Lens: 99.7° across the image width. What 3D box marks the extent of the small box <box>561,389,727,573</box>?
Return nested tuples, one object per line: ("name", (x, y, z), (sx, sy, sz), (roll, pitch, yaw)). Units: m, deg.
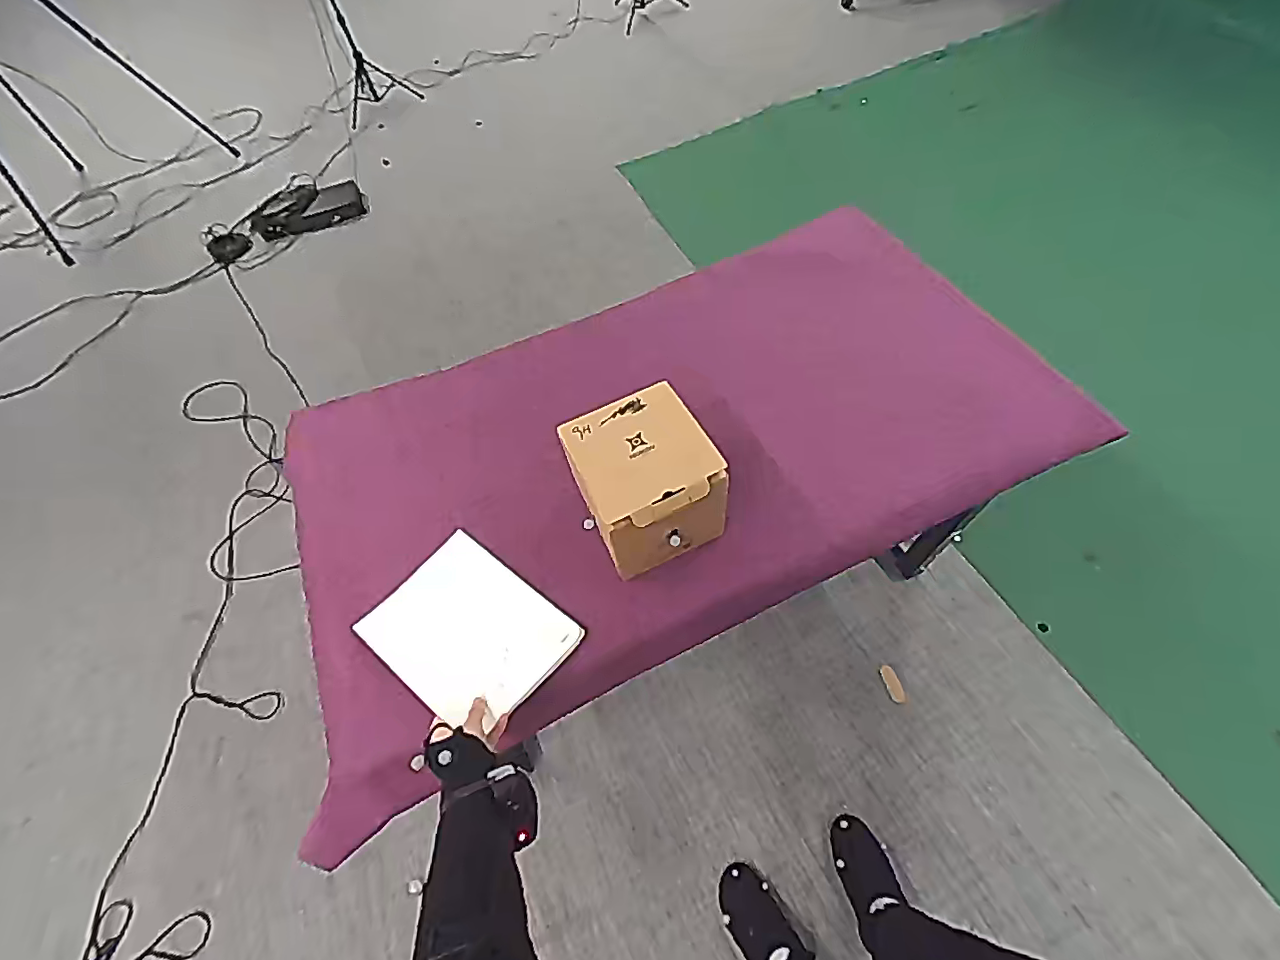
("small box", (0.009, 0.011, 0.760), (0.168, 0.176, 0.179), (-24, 60, -9))
